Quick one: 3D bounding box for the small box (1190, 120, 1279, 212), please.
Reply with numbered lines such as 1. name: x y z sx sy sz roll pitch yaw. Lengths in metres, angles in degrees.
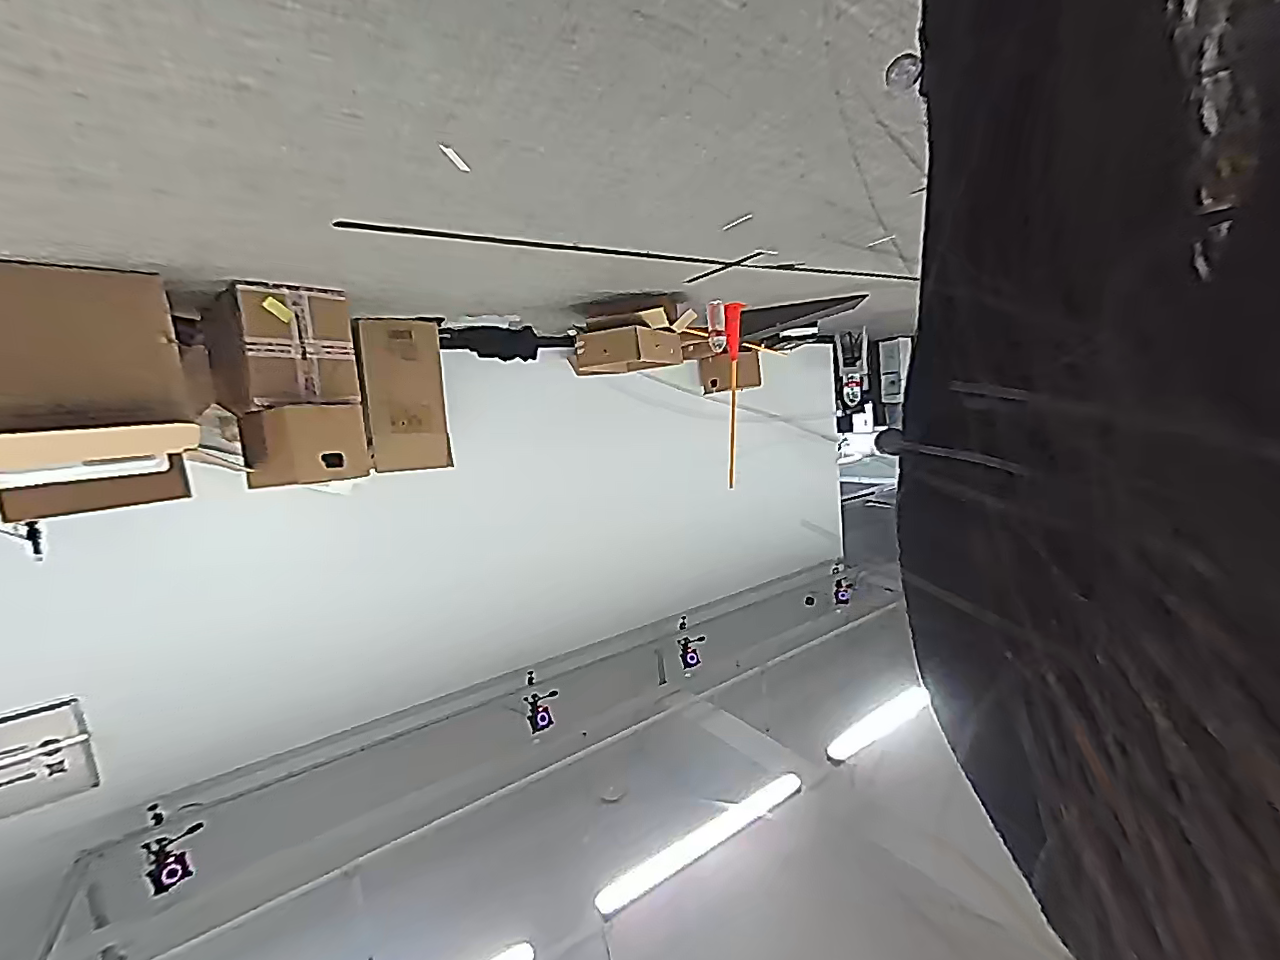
1. small box: 1.777 -0.931 1.612 0.179 0.176 0.168 -1 -172 39
